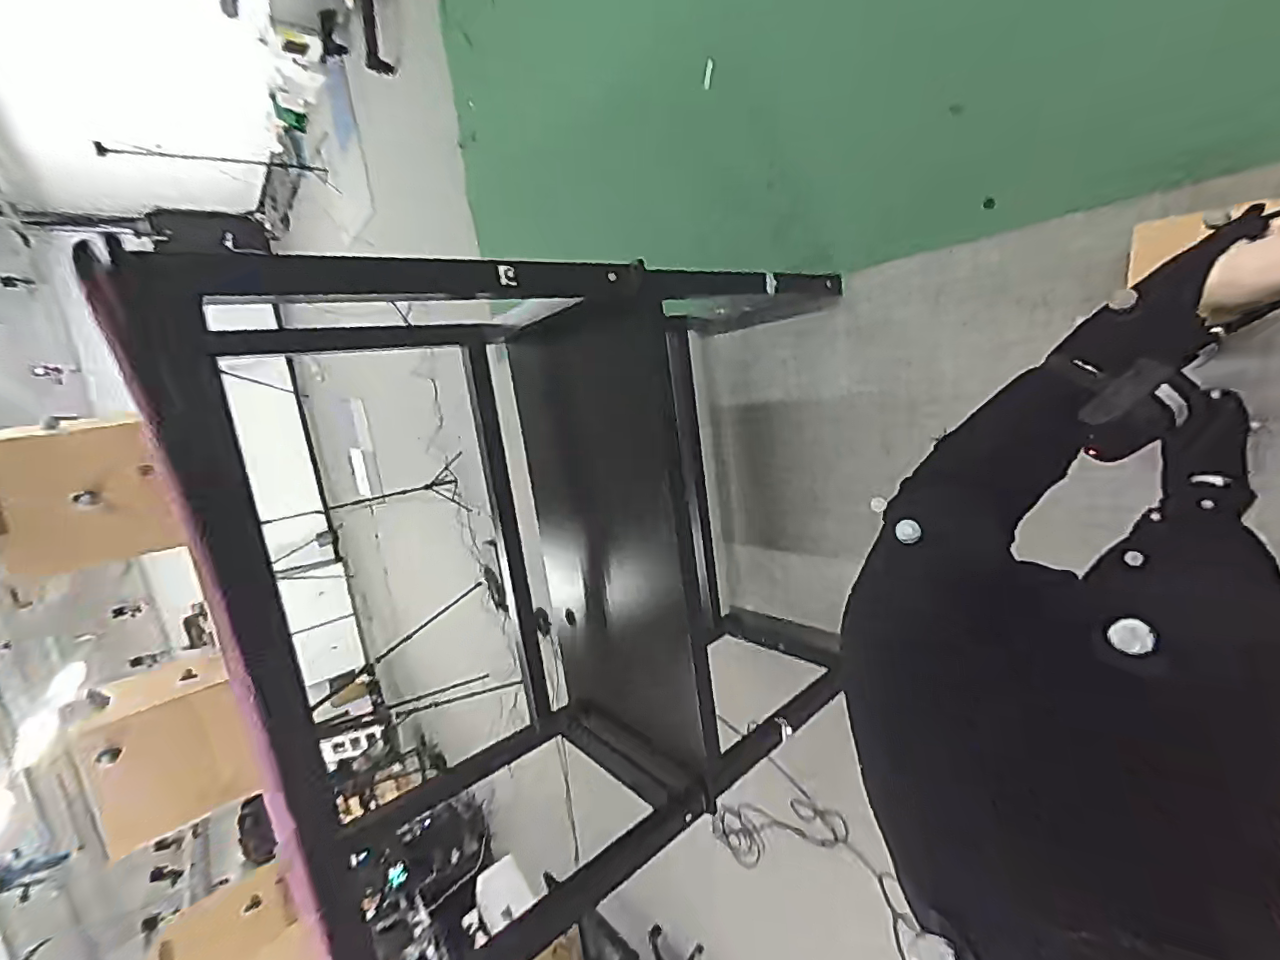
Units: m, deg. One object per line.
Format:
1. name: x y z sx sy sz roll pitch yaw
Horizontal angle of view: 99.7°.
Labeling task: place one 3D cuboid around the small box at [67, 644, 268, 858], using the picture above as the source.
1. small box: -0.640 0.360 0.757 0.168 0.176 0.179 4 105 53

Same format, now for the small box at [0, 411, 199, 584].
1. small box: -0.697 0.008 0.698 0.179 0.176 0.168 15 115 50

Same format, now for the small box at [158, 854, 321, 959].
1. small box: -0.578 0.716 0.797 0.168 0.176 0.179 2 104 50
